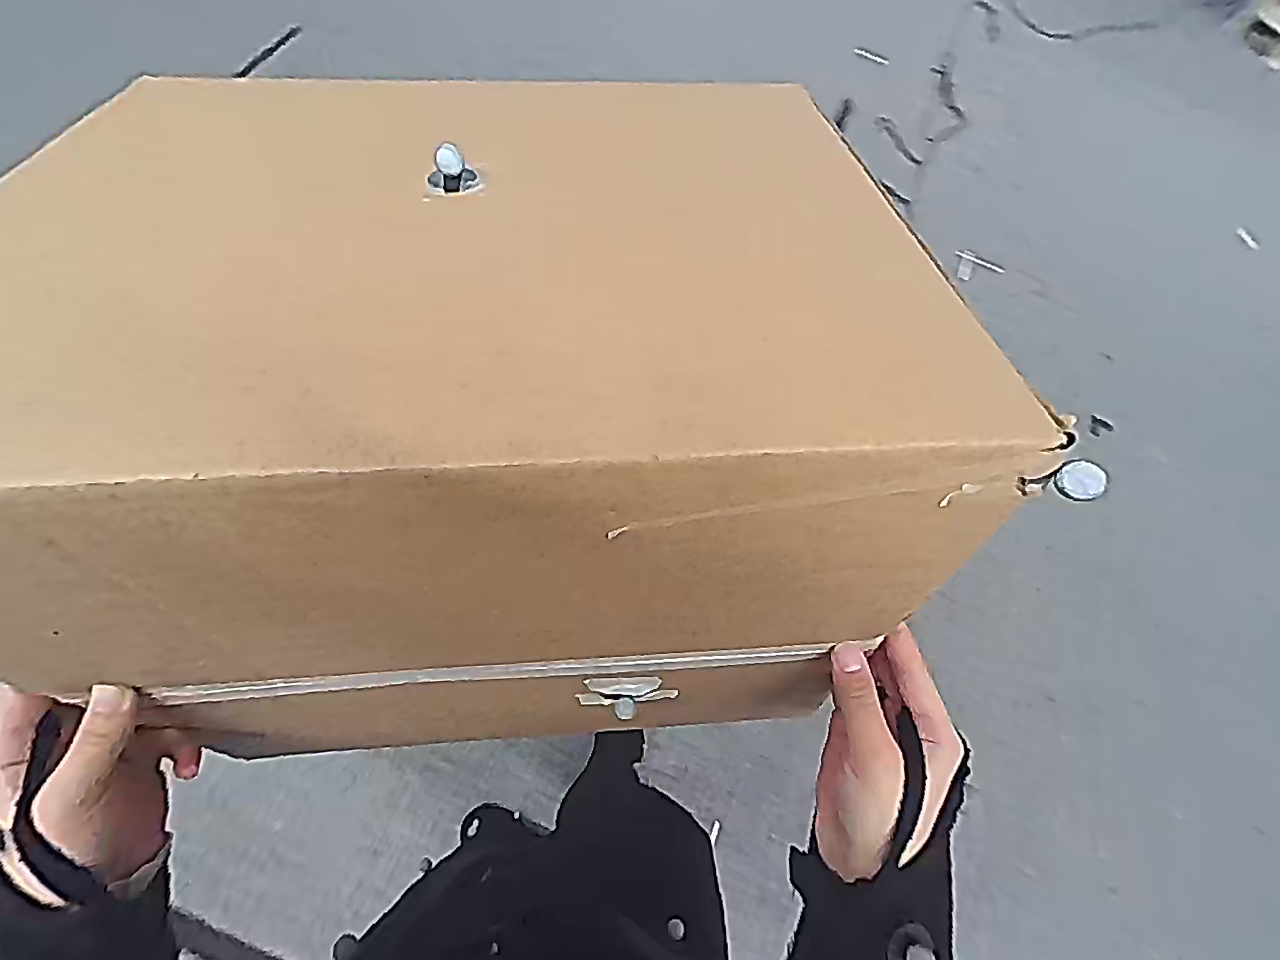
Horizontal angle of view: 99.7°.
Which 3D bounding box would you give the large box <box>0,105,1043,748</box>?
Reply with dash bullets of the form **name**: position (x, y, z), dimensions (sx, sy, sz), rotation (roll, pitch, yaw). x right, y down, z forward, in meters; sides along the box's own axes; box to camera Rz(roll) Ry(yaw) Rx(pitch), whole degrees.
- **large box**: position (-0.080, -0.028, 0.371), dimensions (0.408, 0.320, 0.320), rotation (-2, 54, -4)
